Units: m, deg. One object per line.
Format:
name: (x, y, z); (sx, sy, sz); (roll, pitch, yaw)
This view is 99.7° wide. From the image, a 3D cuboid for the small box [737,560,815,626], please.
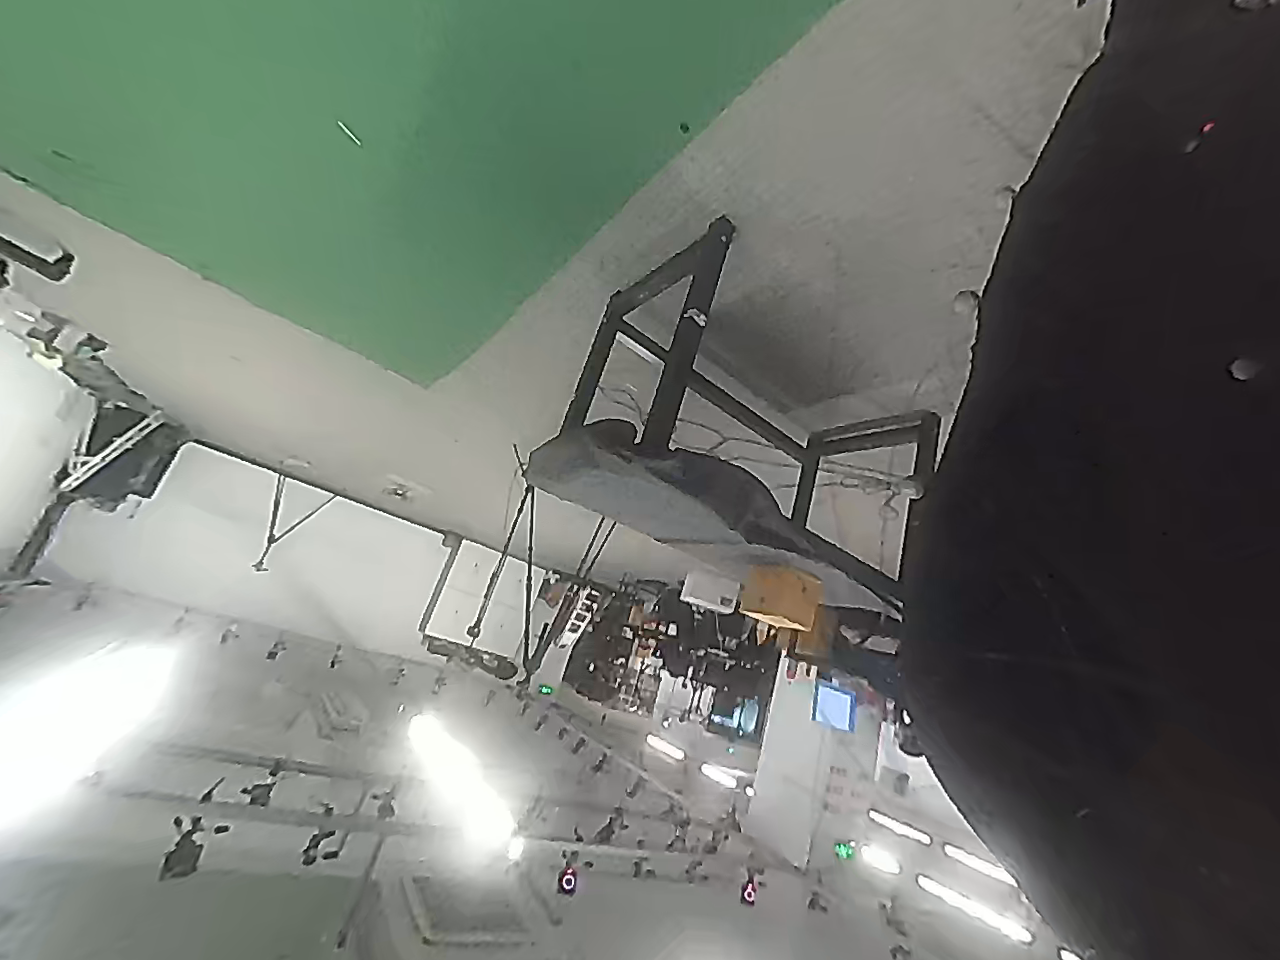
small box: (0.457, 0.373, 1.806); (0.168, 0.176, 0.179); (28, 159, -27)
